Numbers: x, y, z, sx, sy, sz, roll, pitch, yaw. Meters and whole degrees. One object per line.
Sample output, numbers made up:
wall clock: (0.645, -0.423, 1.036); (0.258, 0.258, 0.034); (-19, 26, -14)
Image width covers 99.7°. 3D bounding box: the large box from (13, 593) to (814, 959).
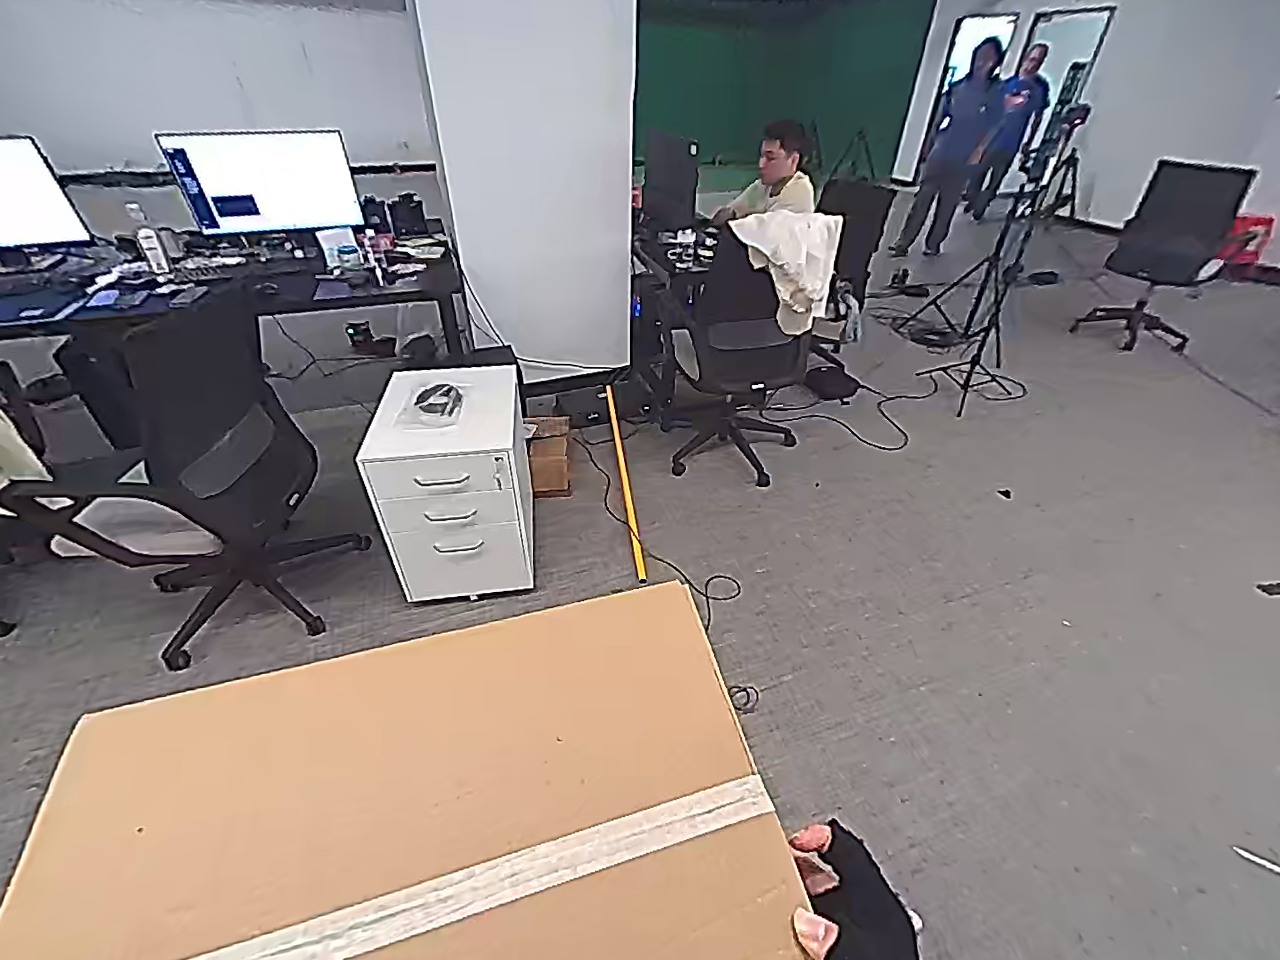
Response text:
large box: (-0.124, 0.334, 0.407); (0.408, 0.320, 0.320); (-10, 49, -12)
